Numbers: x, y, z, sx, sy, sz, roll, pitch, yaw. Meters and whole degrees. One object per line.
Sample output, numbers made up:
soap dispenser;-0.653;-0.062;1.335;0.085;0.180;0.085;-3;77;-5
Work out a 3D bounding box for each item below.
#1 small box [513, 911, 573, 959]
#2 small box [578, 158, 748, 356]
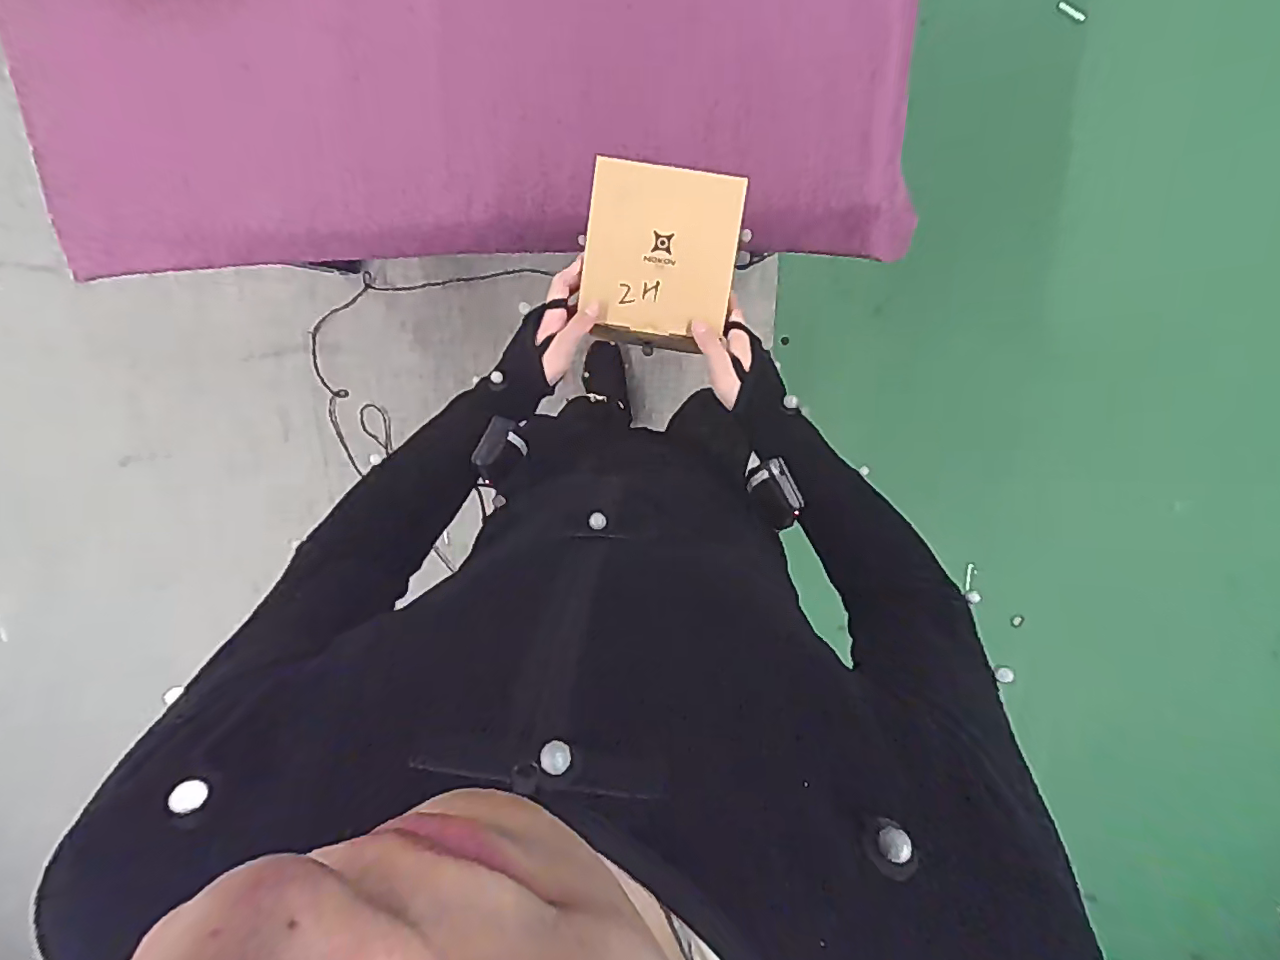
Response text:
small box;-0.312;1.553;1.760;0.168;0.176;0.179;-2;106;0
small box;0.024;-0.259;0.669;0.168;0.176;0.179;9;99;0
